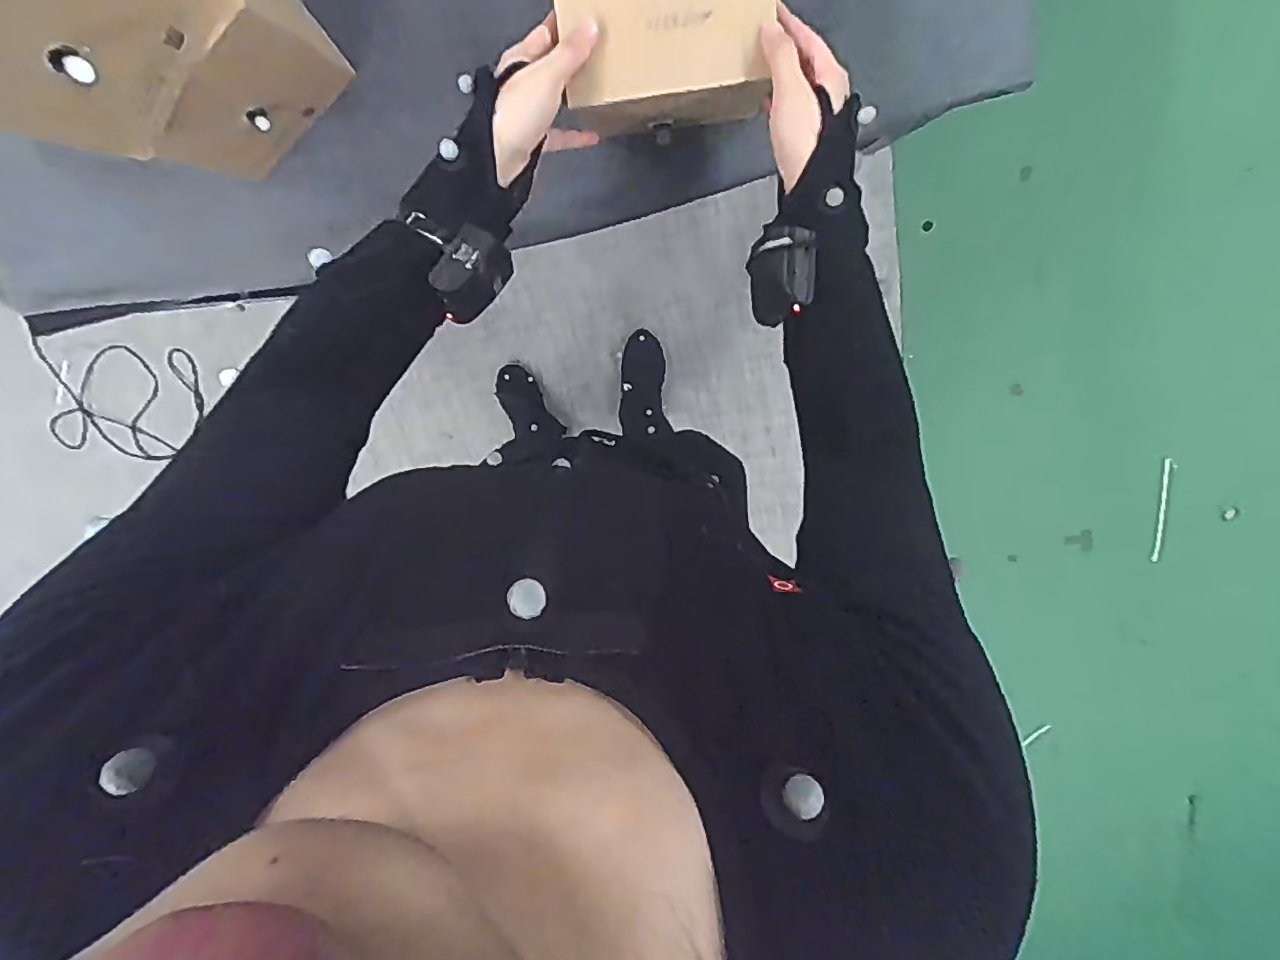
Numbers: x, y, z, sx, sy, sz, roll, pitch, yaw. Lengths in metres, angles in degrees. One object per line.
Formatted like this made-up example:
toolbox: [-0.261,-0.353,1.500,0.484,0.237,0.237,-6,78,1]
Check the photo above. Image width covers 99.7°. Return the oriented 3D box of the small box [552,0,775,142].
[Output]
small box: [0.021,-0.407,0.458,0.168,0.176,0.179,-3,116,8]

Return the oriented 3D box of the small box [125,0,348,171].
small box: [-0.418,-0.416,0.497,0.168,0.176,0.179,-35,105,14]
